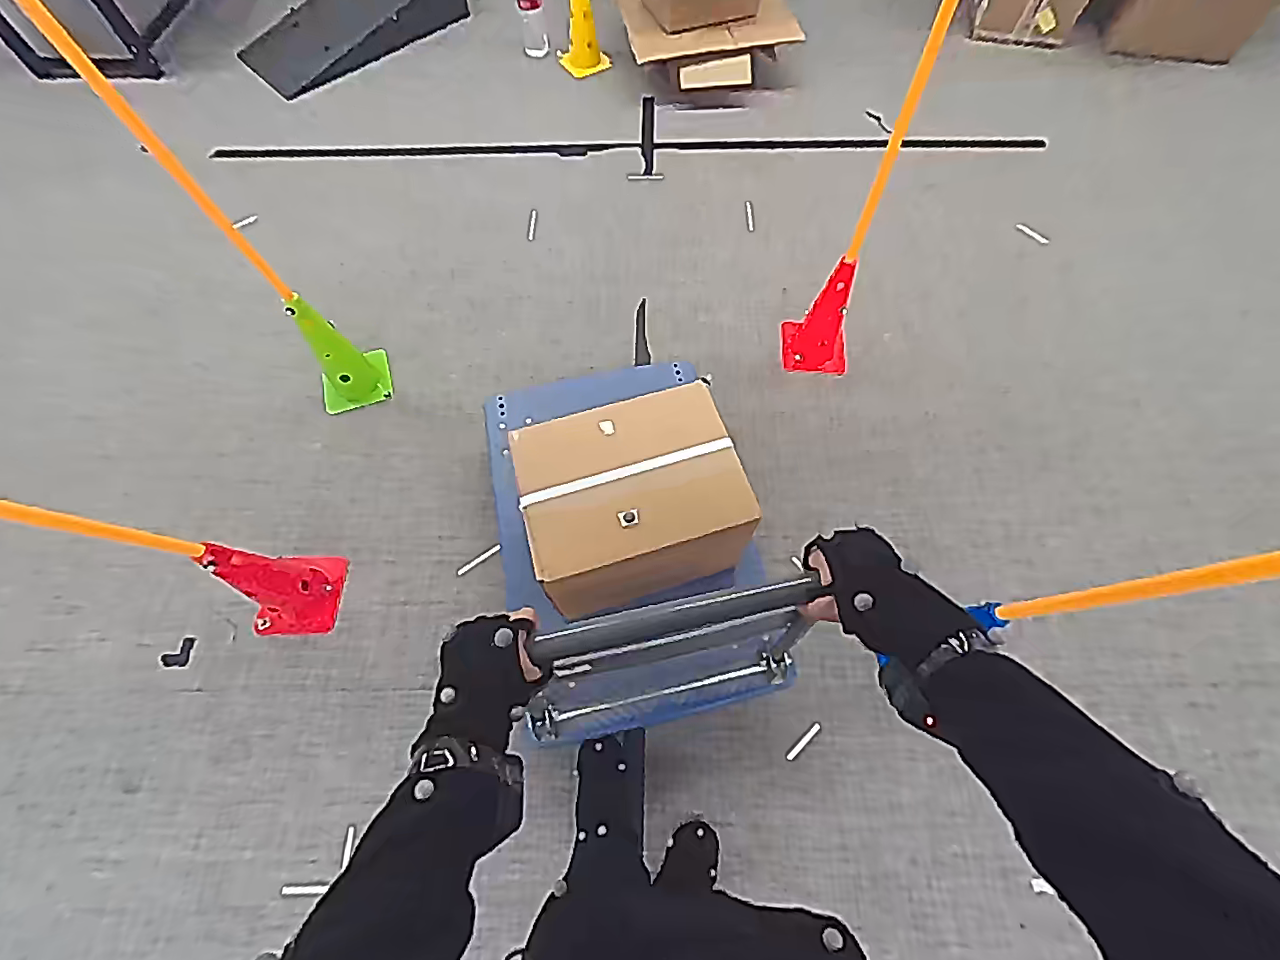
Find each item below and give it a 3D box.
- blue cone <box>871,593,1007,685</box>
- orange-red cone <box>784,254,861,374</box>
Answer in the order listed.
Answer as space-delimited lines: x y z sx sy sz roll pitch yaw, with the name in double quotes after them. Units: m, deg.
0.676 0.323 1.175 0.193 0.380 0.192 -3 63 -1 "blue cone"
0.557 -0.496 1.556 0.199 0.360 0.198 7 65 3 "orange-red cone"
